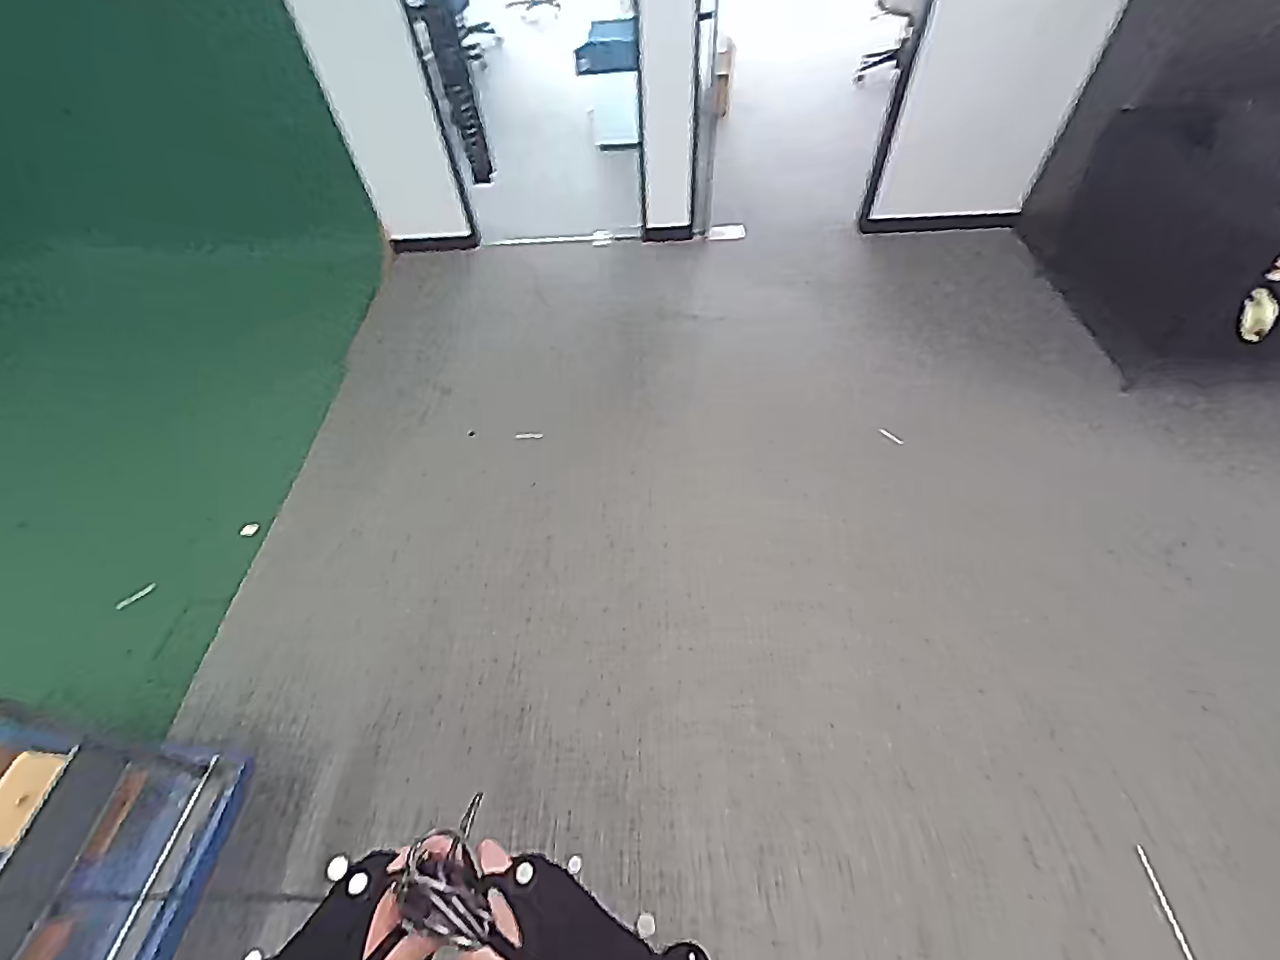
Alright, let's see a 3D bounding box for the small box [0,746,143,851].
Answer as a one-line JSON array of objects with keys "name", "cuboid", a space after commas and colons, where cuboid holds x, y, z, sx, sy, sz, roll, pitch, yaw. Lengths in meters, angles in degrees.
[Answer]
[{"name": "small box", "cuboid": [-1.275, 0.701, 1.184, 0.179, 0.176, 0.168, 6, 53, 5]}]
